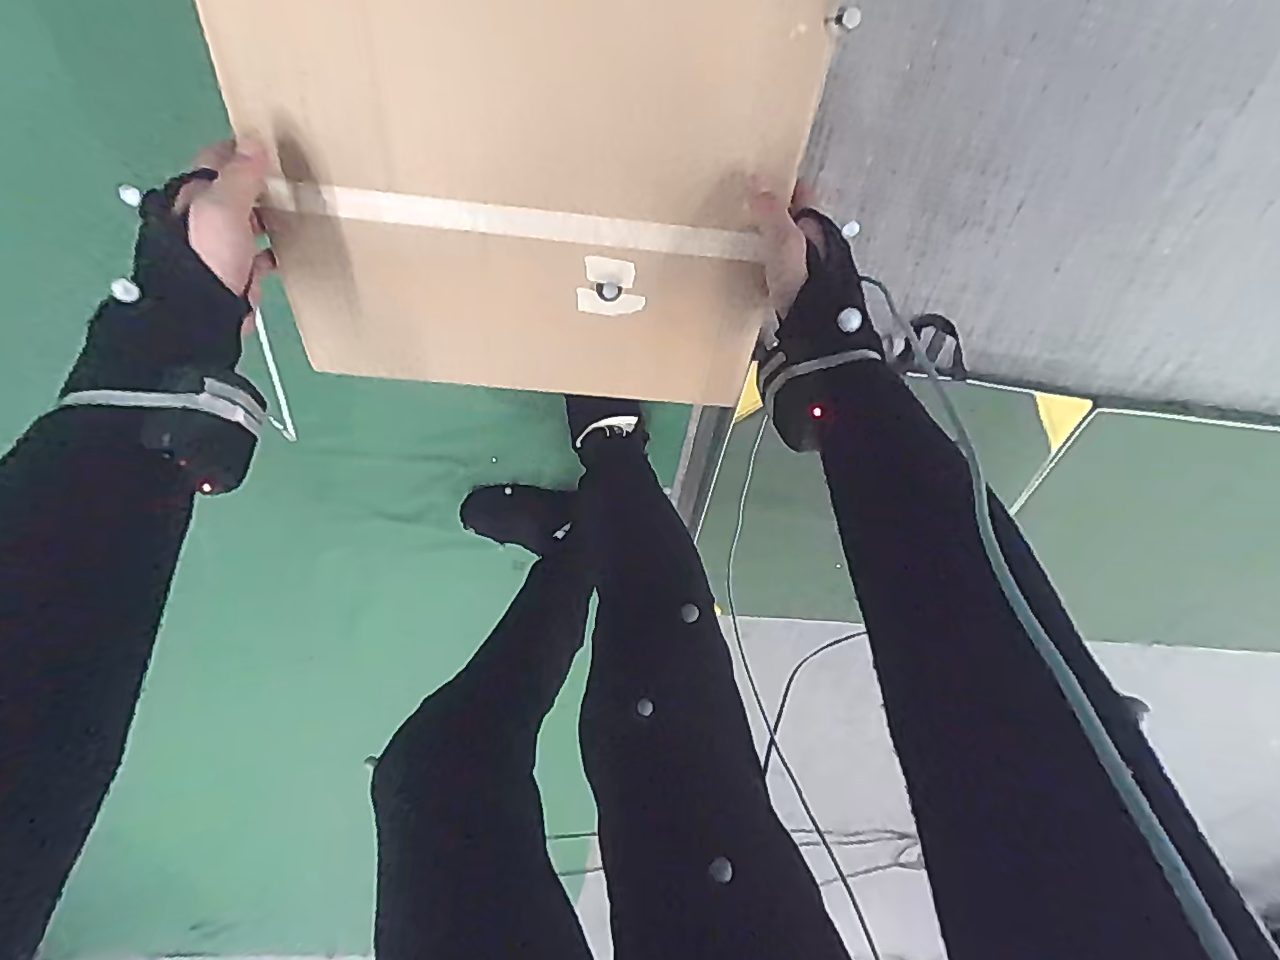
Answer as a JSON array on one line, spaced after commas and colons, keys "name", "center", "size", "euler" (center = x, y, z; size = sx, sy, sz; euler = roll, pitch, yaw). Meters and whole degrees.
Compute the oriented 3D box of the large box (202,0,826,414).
[{"name": "large box", "center": [-0.096, -0.286, 0.547], "size": [0.408, 0.320, 0.320], "euler": [3, 130, -6]}]
